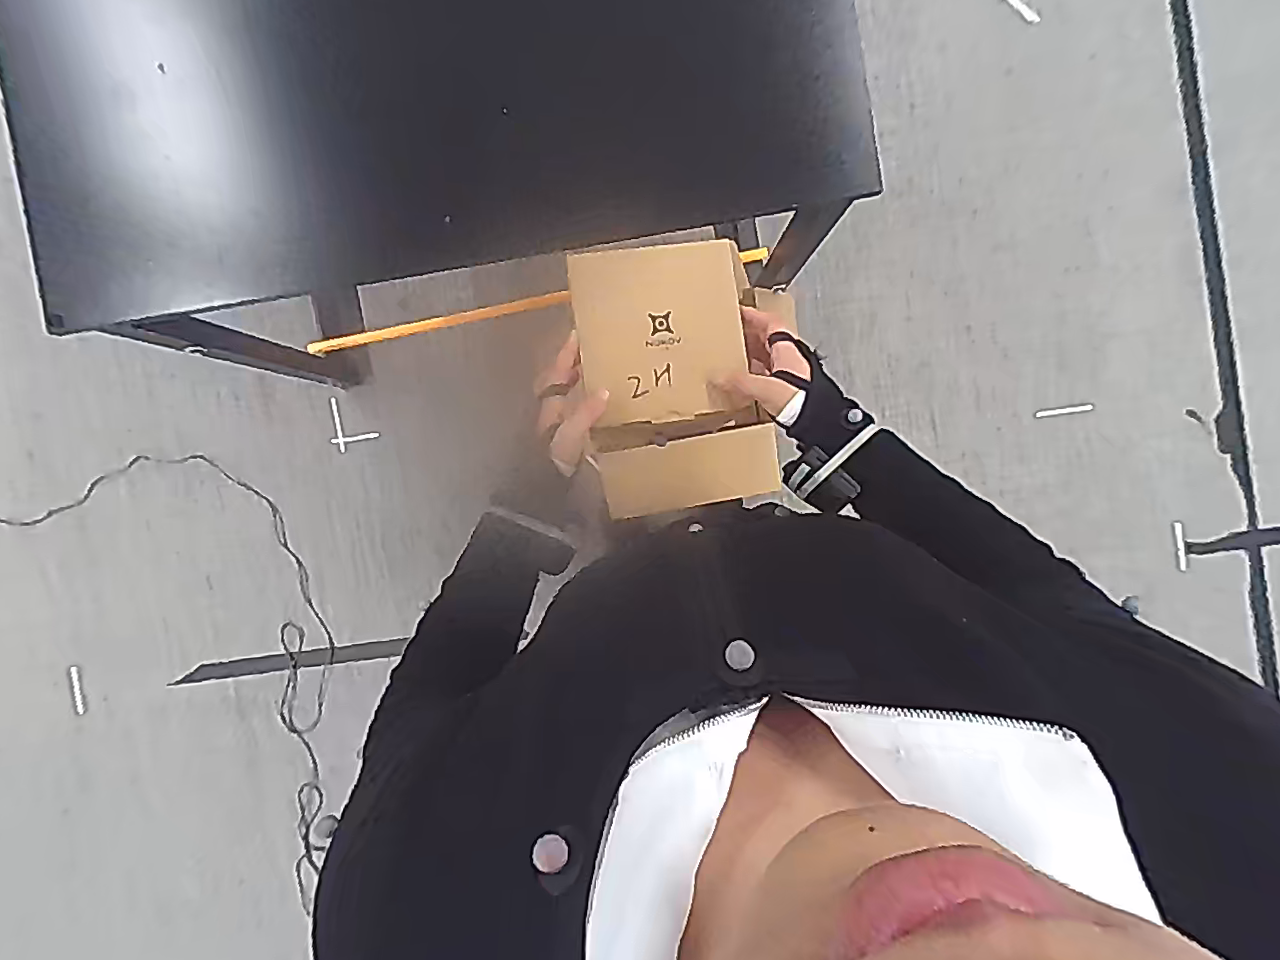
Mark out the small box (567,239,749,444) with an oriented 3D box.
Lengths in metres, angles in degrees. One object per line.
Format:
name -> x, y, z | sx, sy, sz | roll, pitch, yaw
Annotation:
small box -> 0.011, -0.143, 0.609 | 0.168, 0.176, 0.179 | -8, 89, -5
